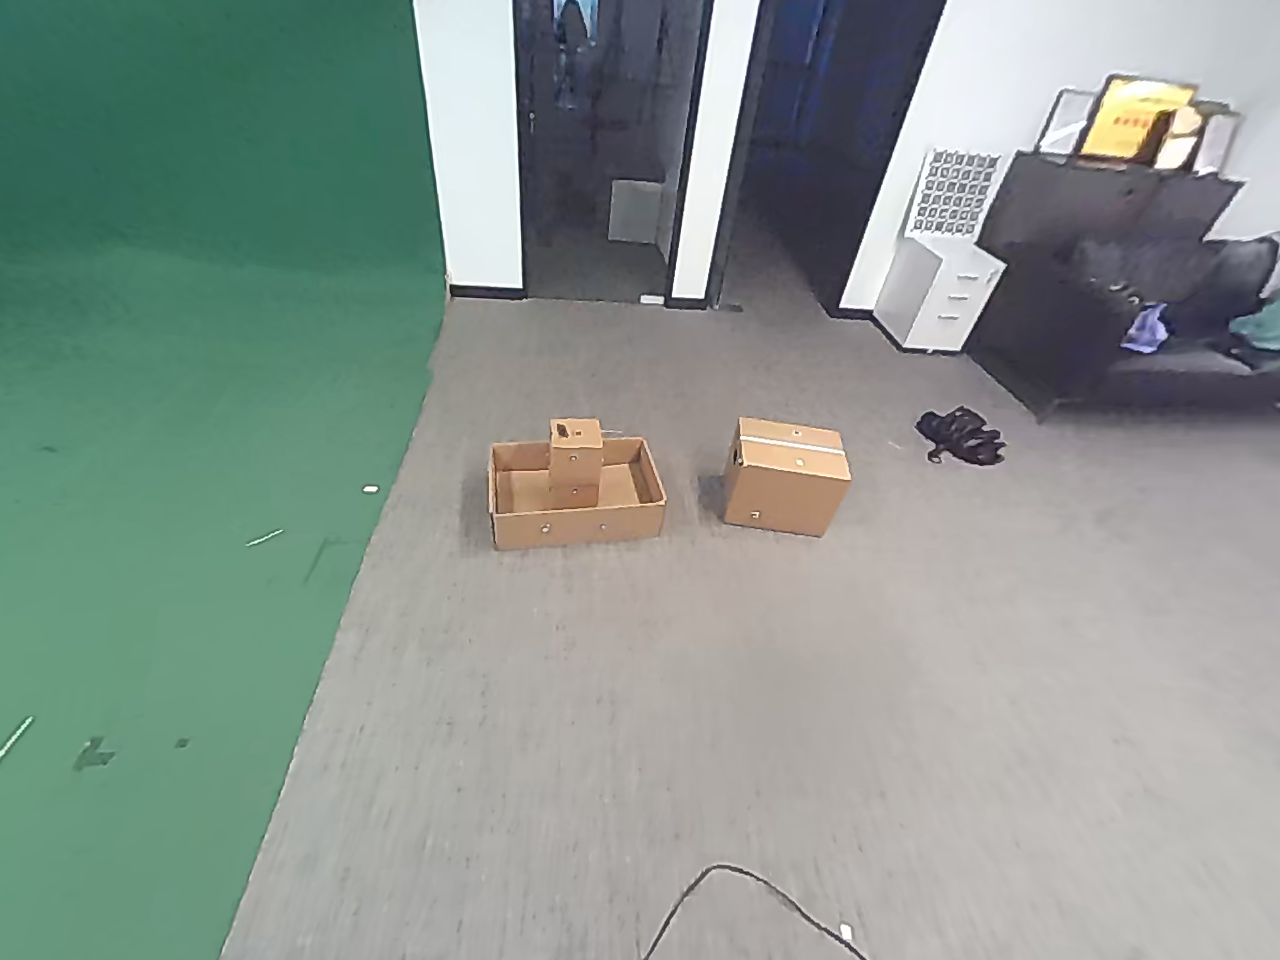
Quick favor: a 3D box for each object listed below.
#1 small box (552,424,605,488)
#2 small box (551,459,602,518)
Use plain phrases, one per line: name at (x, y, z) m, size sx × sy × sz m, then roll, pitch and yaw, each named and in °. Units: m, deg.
small box at (-0.224, -0.085, 1.925) m, size 0.179 × 0.176 × 0.168 m, roll 0°, pitch 41°, yaw -11°
small box at (-0.245, 0.032, 2.040) m, size 0.179 × 0.176 × 0.168 m, roll -2°, pitch 42°, yaw -13°
